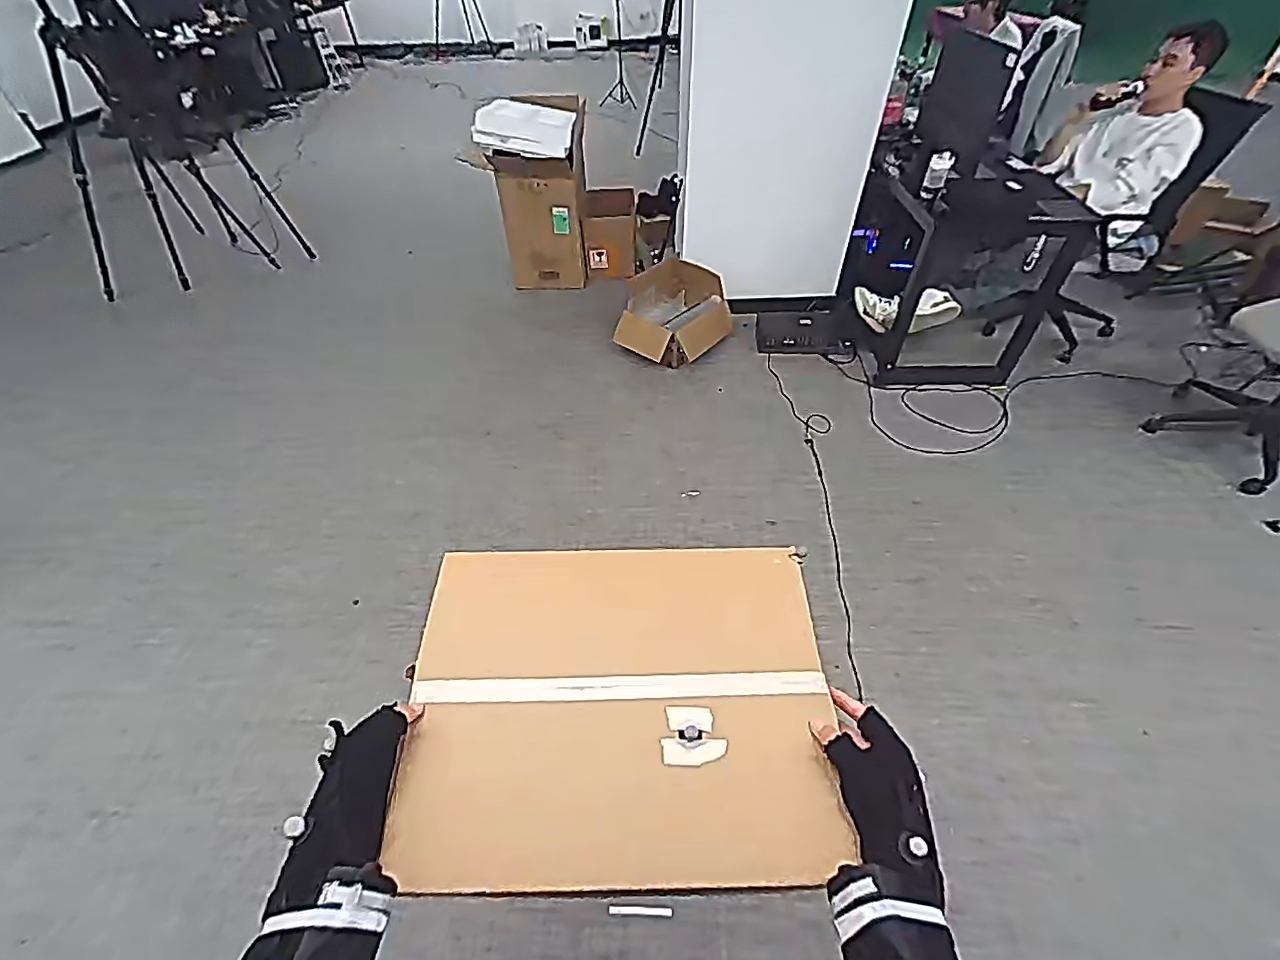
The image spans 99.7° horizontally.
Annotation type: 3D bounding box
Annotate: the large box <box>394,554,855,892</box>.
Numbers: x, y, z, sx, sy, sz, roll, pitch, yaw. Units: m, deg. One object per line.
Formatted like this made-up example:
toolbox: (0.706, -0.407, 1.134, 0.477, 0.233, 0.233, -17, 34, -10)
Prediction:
large box: (-0.018, 0.304, 0.666, 0.408, 0.320, 0.320, 0, 53, -1)
